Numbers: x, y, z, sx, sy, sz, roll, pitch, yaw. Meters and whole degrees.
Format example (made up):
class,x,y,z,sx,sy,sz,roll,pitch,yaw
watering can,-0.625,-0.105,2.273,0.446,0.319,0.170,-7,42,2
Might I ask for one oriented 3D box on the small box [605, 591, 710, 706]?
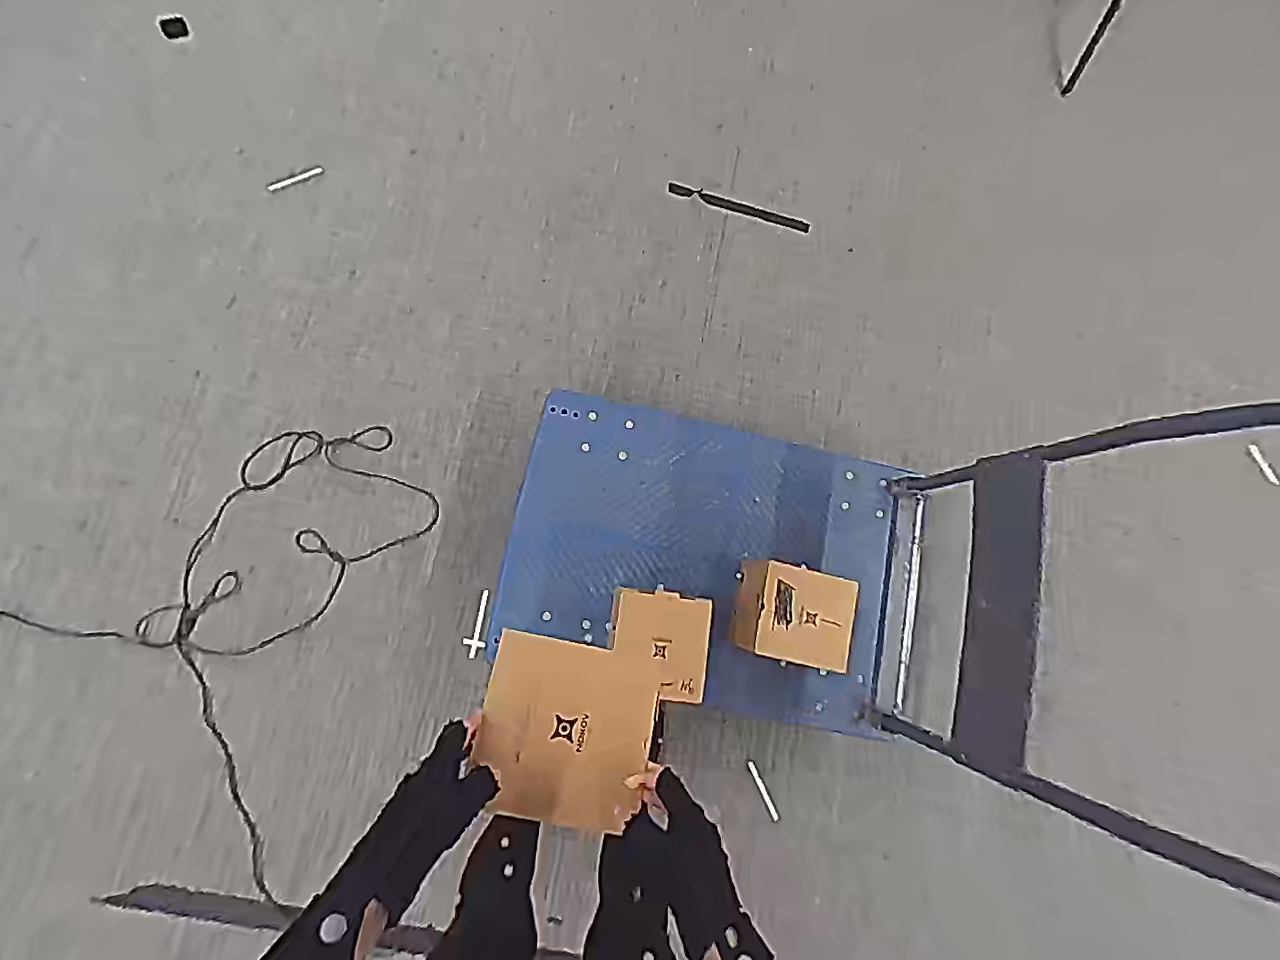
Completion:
class,x,y,z,sx,sy,sz,roll,pitch,yaw
small box,0.024,0.305,1.008,0.168,0.176,0.179,9,78,-5

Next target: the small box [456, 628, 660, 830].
class,x,y,z,sx,sy,sz,roll,pitch,yaw
small box,-0.090,0.274,0.616,0.179,0.176,0.168,13,67,-6

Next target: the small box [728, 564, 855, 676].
class,x,y,z,sx,sy,sz,roll,pitch,yaw
small box,0.283,0.265,1.044,0.179,0.176,0.168,14,79,-4
